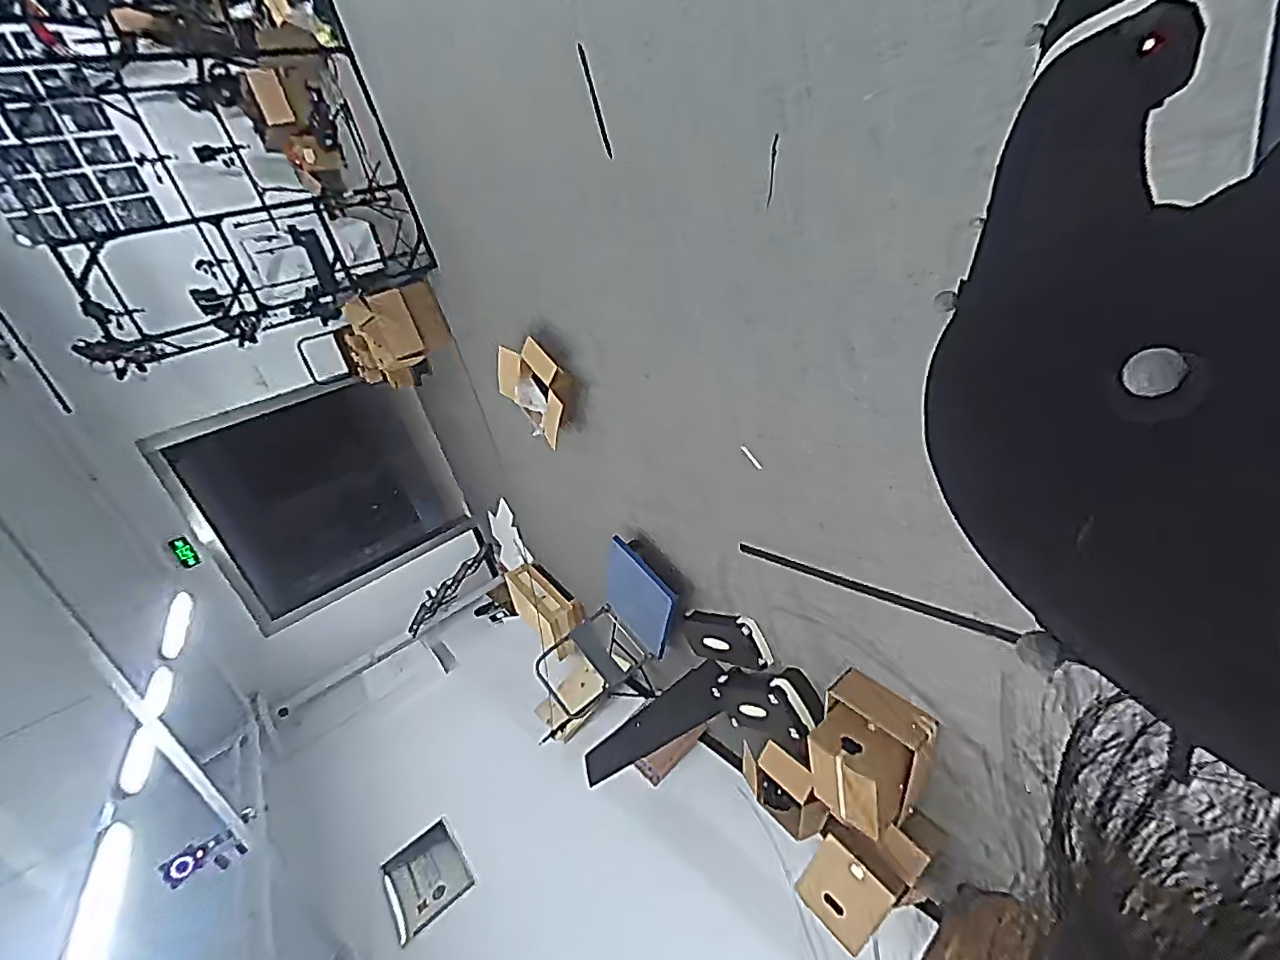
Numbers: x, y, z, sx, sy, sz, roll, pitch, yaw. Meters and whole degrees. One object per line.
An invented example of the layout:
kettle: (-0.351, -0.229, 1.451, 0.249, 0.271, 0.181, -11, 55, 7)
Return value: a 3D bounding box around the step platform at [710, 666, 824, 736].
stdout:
step platform: (0.668, 1.200, 2.965, 0.286, 0.204, 0.684, 58, 150, 3)
